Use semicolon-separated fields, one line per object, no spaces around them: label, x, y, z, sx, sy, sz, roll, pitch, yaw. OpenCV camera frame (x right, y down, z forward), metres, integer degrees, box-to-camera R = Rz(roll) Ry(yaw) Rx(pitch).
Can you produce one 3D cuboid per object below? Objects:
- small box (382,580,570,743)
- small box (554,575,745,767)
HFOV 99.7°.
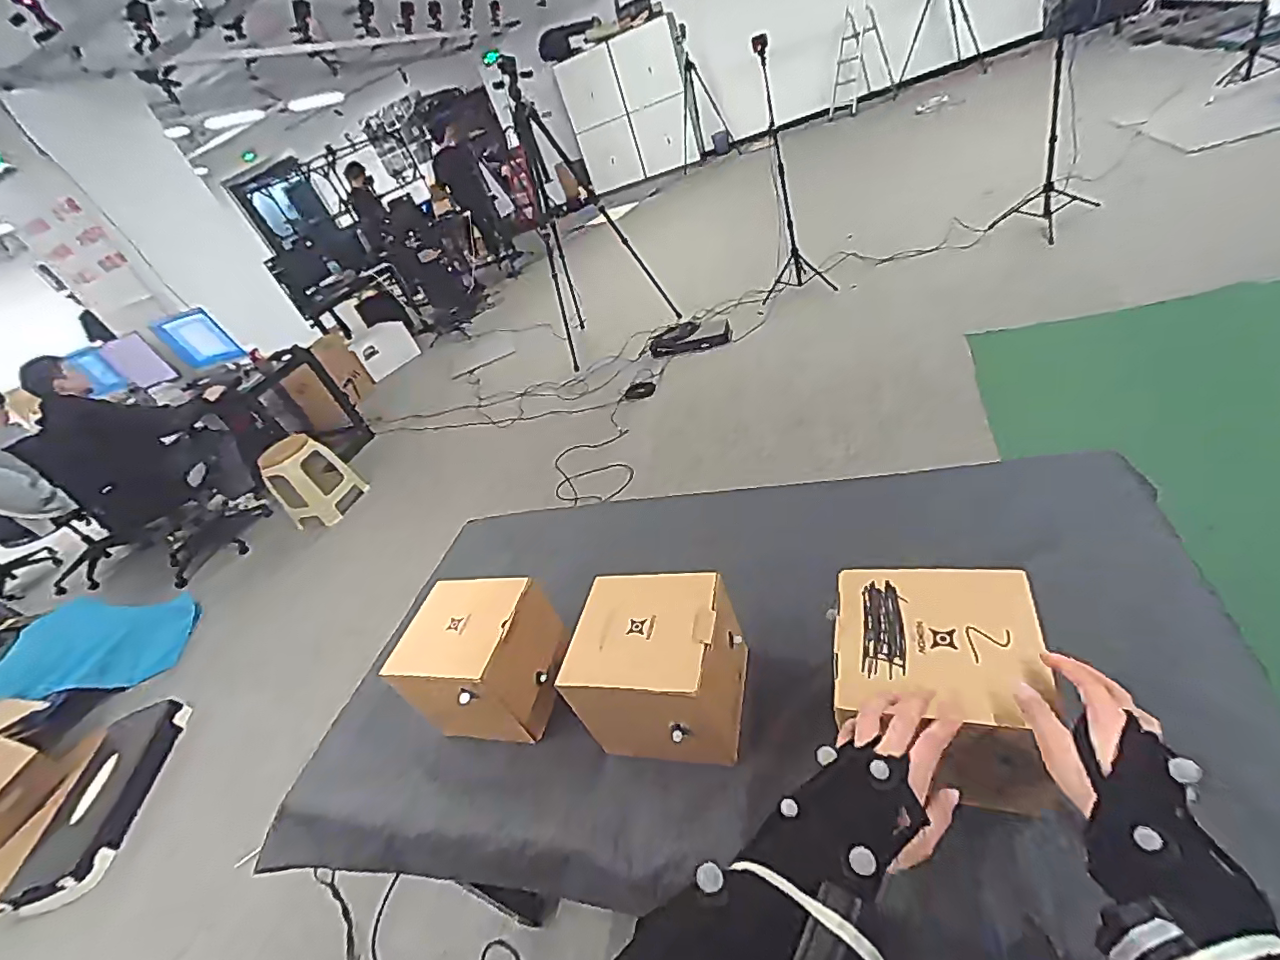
small box;-0.229;0.268;0.803;0.179;0.176;0.168;-7;37;22
small box;0.026;0.241;0.687;0.179;0.176;0.168;-8;36;24
